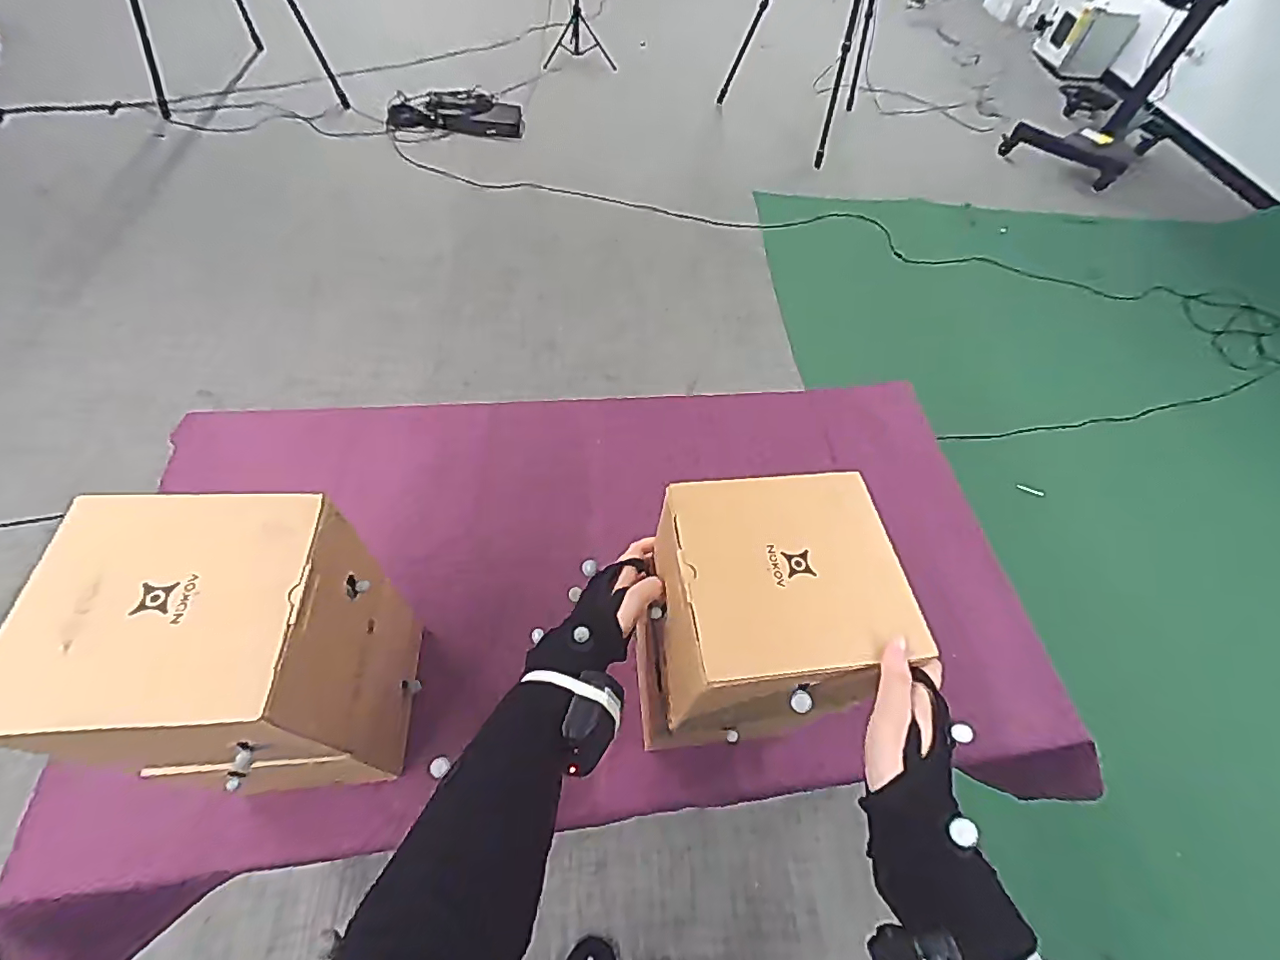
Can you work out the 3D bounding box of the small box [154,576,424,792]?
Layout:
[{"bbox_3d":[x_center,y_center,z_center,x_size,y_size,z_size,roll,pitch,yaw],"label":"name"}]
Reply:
[{"bbox_3d":[-0.339,0.217,0.571,0.168,0.176,0.179,-1,56,-6],"label":"small box"}]

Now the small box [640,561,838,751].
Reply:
[{"bbox_3d":[0.094,0.206,0.623,0.179,0.176,0.168,-2,57,-7],"label":"small box"}]

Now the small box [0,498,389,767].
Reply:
[{"bbox_3d":[-0.324,0.128,0.434,0.179,0.176,0.168,0,56,-6],"label":"small box"}]
